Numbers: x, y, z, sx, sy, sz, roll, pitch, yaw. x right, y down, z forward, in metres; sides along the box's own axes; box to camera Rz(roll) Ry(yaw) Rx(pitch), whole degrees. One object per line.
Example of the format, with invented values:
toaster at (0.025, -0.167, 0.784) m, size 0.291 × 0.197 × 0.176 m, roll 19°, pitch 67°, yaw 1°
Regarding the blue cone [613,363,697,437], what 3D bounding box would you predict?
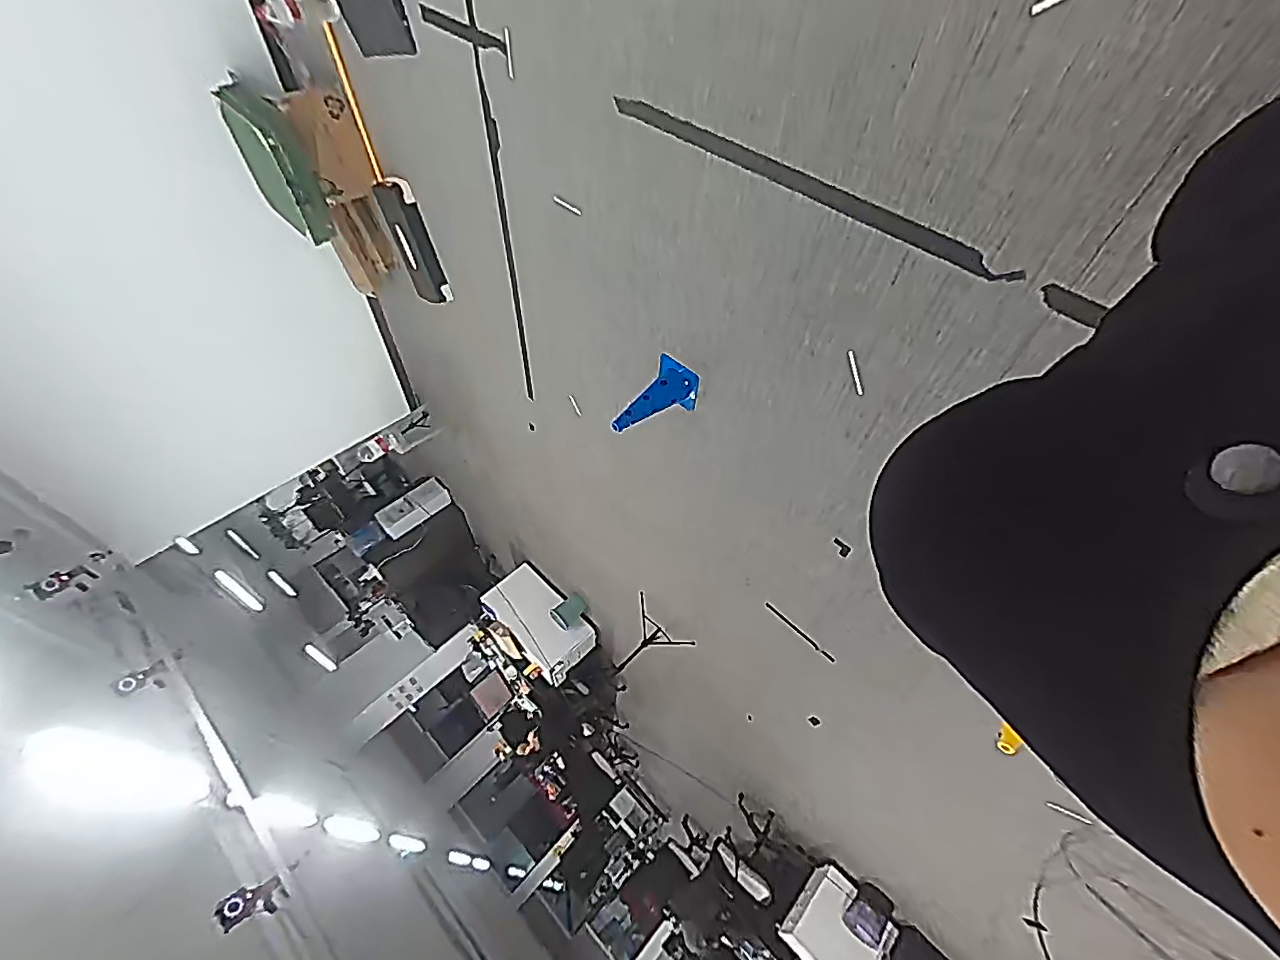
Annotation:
blue cone at (0.039, -0.285, 2.120) m, size 0.193 × 0.380 × 0.192 m, roll 39°, pitch 151°, yaw 22°
